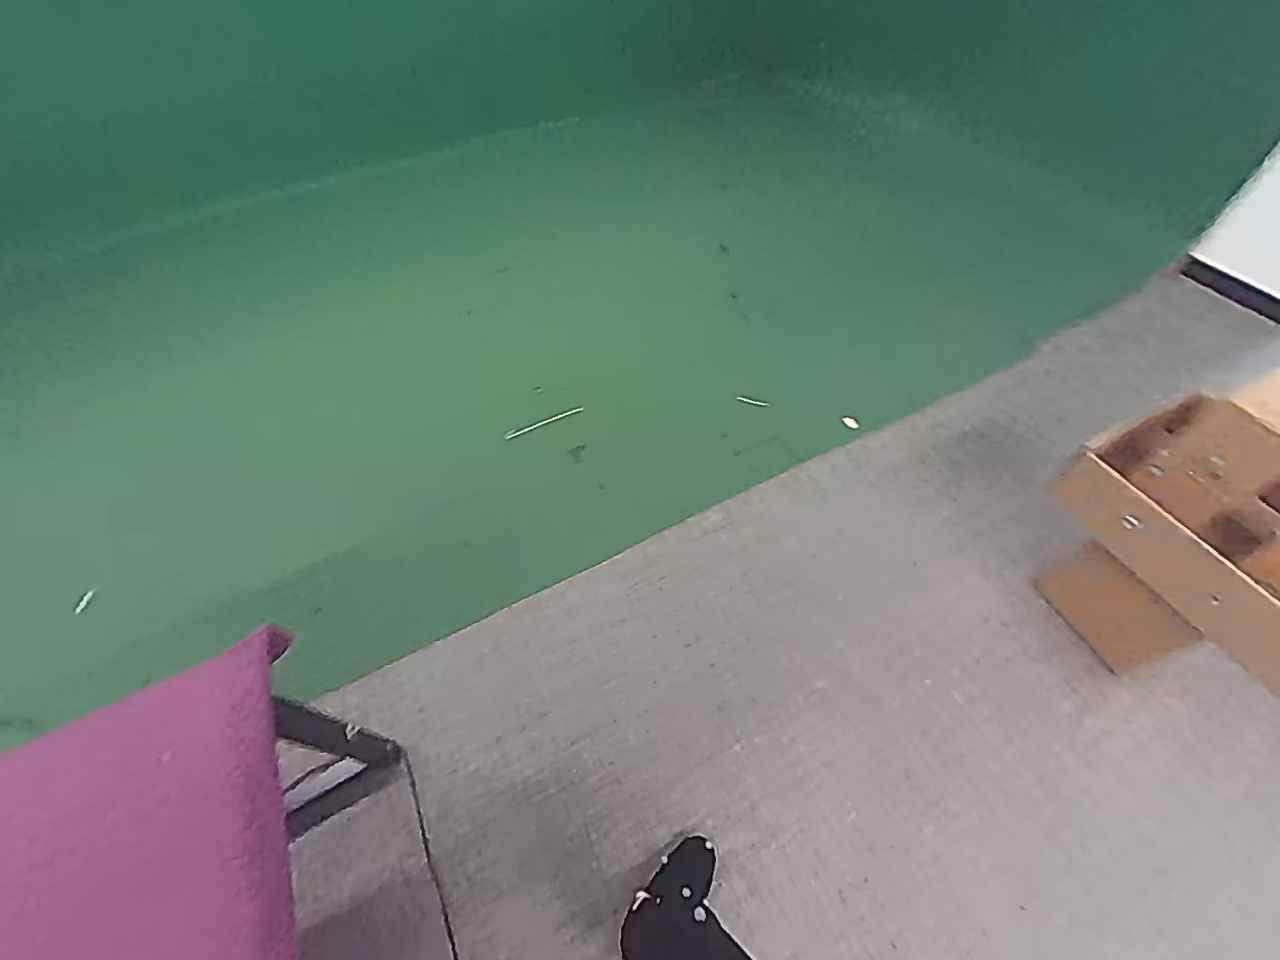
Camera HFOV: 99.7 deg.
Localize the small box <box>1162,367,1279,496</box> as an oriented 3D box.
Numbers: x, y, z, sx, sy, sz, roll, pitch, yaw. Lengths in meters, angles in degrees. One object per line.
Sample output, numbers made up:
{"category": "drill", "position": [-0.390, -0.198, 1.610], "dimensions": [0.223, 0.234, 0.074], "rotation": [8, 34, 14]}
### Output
{"category": "small box", "position": [1.264, -0.098, 1.122], "dimensions": [0.179, 0.176, 0.168], "rotation": [-23, 58, -13]}
